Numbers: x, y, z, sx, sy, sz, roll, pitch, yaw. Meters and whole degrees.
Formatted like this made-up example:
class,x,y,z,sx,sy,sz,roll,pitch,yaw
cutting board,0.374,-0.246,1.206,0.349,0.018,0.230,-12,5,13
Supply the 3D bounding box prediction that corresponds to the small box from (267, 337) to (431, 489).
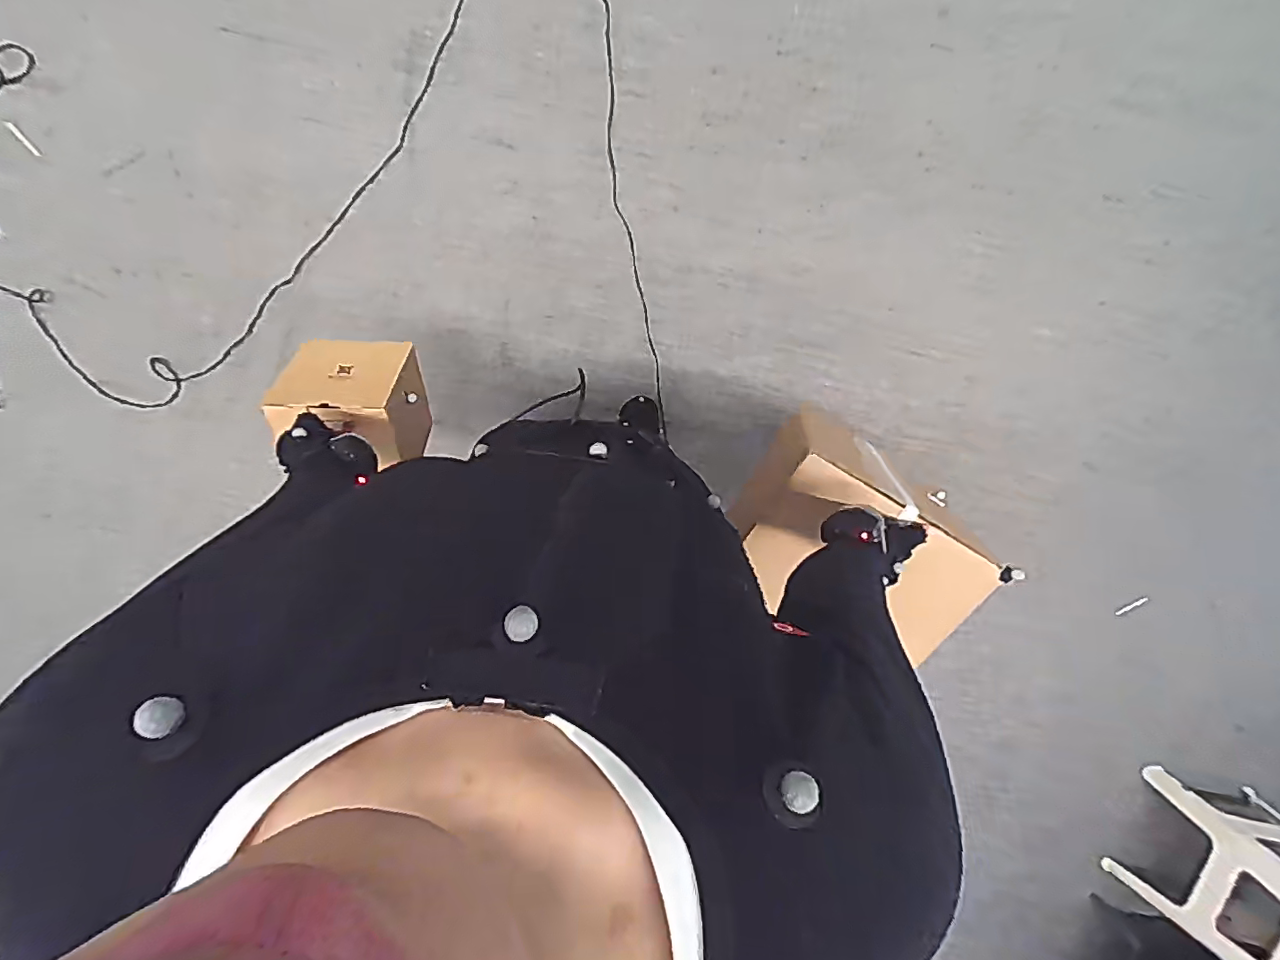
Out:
class,x,y,z,sx,sy,sz,roll,pitch,yaw
small box,-0.445,-0.107,0.864,0.168,0.179,0.176,1,136,-5
